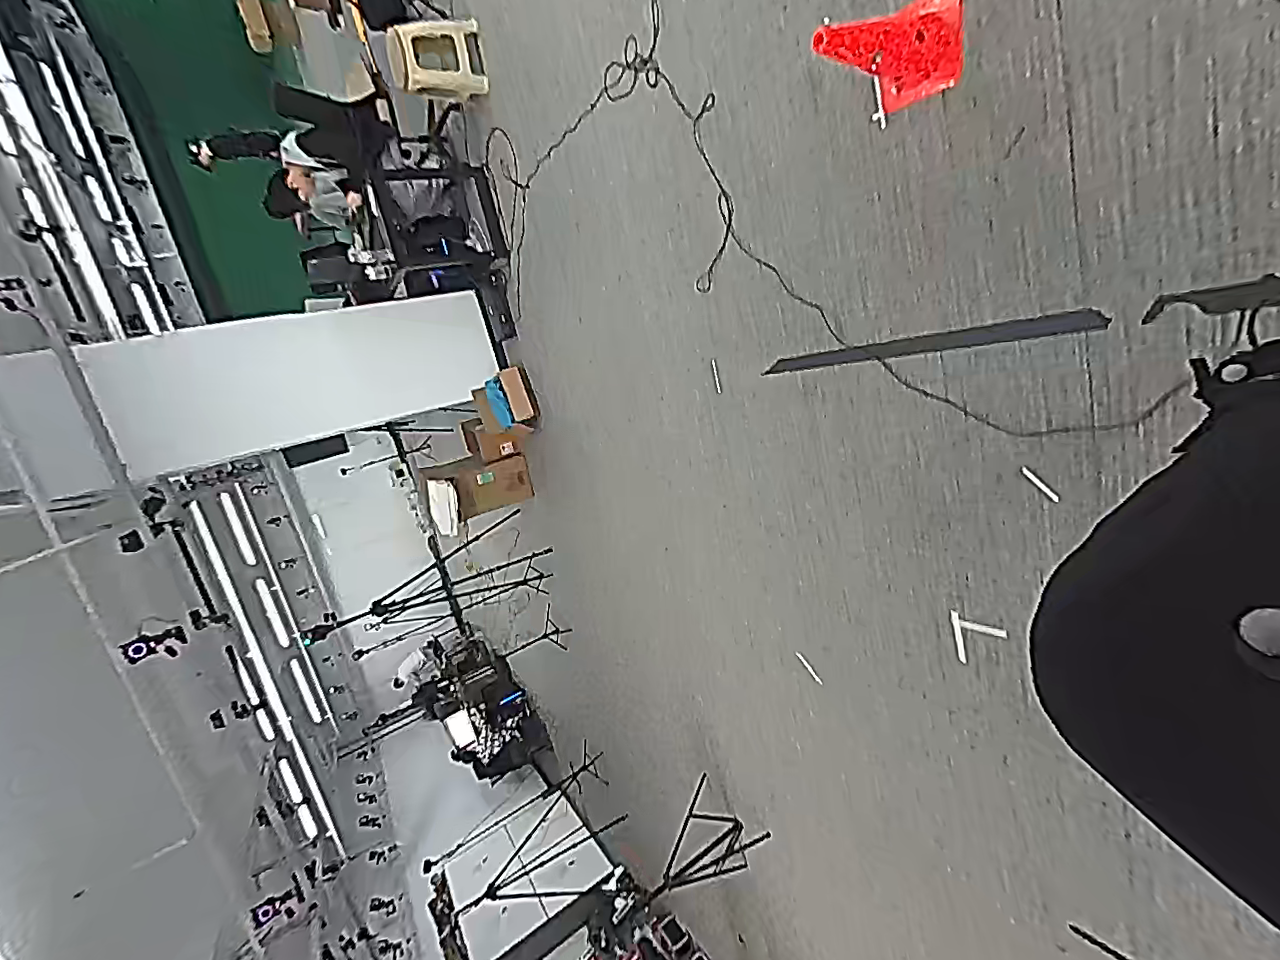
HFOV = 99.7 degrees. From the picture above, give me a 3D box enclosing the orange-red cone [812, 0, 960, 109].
[{"bbox_3d":[0.512,-0.957,1.187,0.199,0.360,0.198,17,124,55],"label":"orange-red cone"}]
